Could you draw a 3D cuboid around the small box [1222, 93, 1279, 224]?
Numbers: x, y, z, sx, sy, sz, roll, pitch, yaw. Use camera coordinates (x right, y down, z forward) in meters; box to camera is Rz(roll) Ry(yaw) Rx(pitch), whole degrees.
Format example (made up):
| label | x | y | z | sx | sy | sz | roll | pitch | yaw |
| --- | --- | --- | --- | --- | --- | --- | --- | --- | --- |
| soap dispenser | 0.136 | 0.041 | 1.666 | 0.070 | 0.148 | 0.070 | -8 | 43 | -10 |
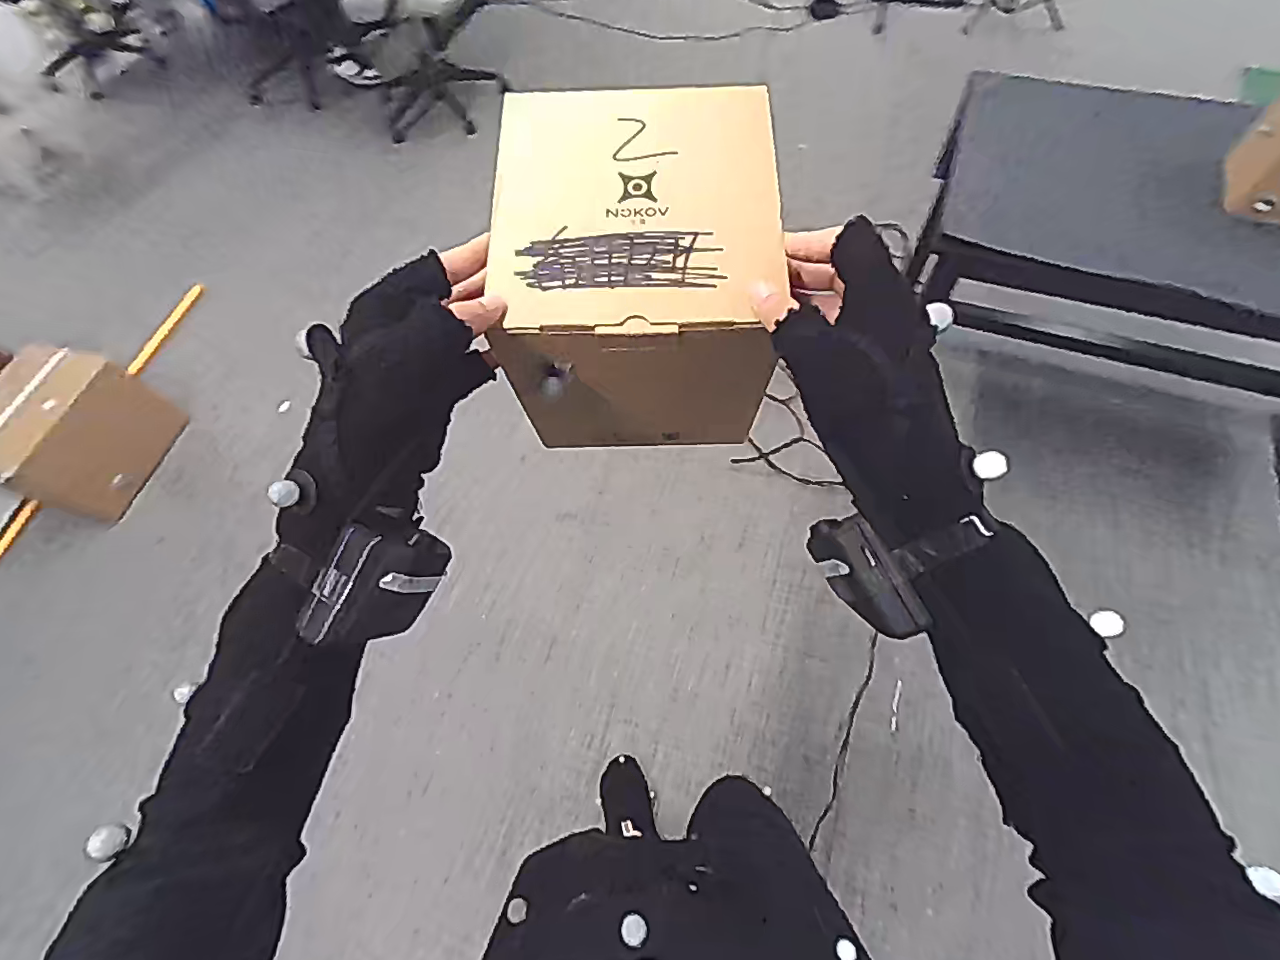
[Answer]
| label | x | y | z | sx | sy | sz | roll | pitch | yaw |
| --- | --- | --- | --- | --- | --- | --- | --- | --- | --- |
| small box | 1.113 | -0.537 | 0.881 | 0.168 | 0.176 | 0.179 | 21 | 64 | 16 |
